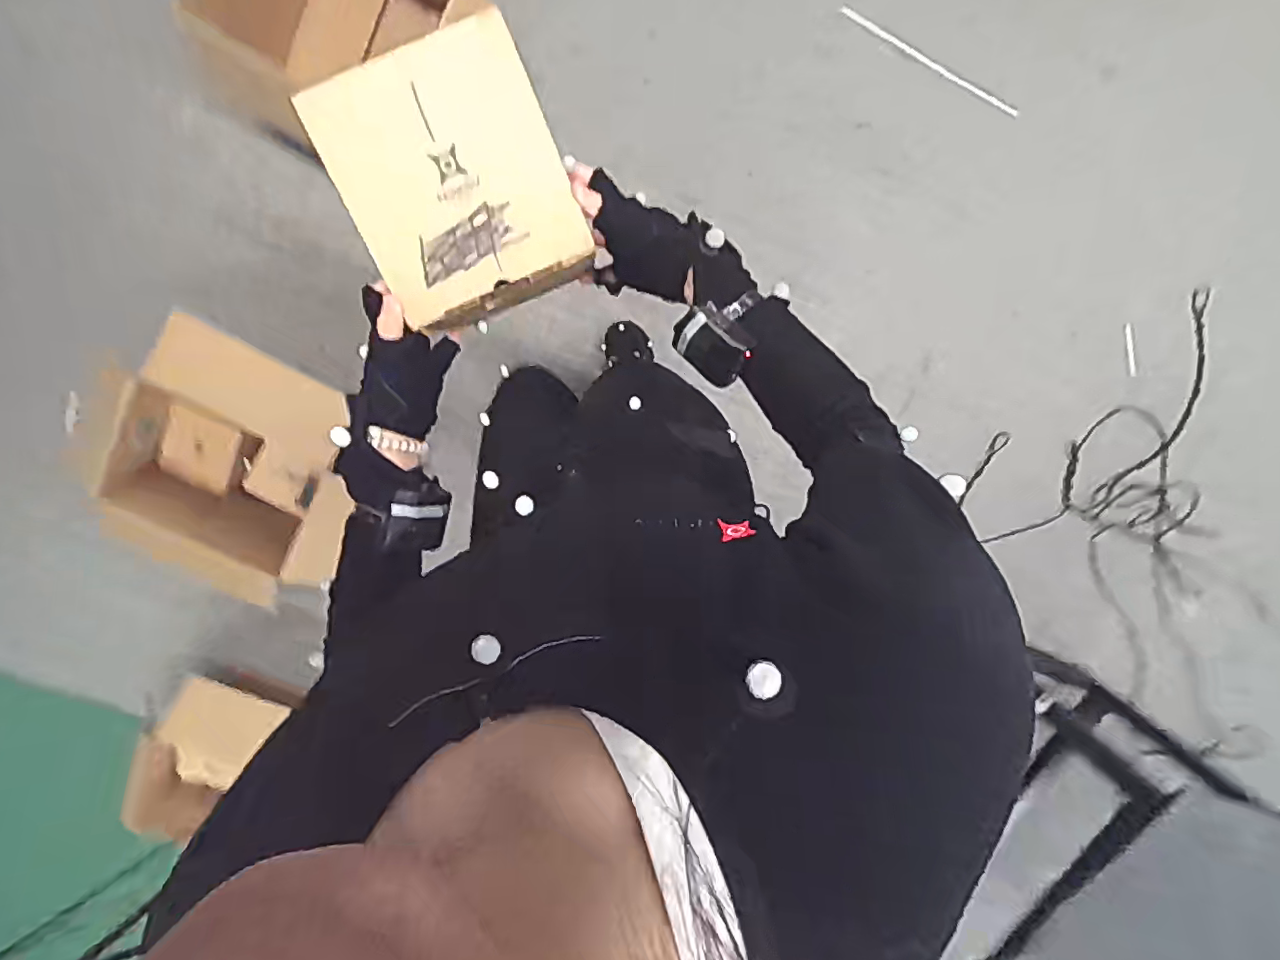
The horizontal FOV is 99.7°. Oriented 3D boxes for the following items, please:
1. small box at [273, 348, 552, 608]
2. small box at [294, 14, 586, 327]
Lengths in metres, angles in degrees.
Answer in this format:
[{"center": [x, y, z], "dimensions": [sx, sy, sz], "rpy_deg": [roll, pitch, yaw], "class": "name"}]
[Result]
[{"center": [-0.220, 0.011, 0.529], "dimensions": [0.168, 0.179, 0.176], "rpy_deg": [36, 145, -30], "class": "small box"}, {"center": [-0.155, -0.254, 0.495], "dimensions": [0.168, 0.176, 0.179], "rpy_deg": [-24, 105, 1], "class": "small box"}]
